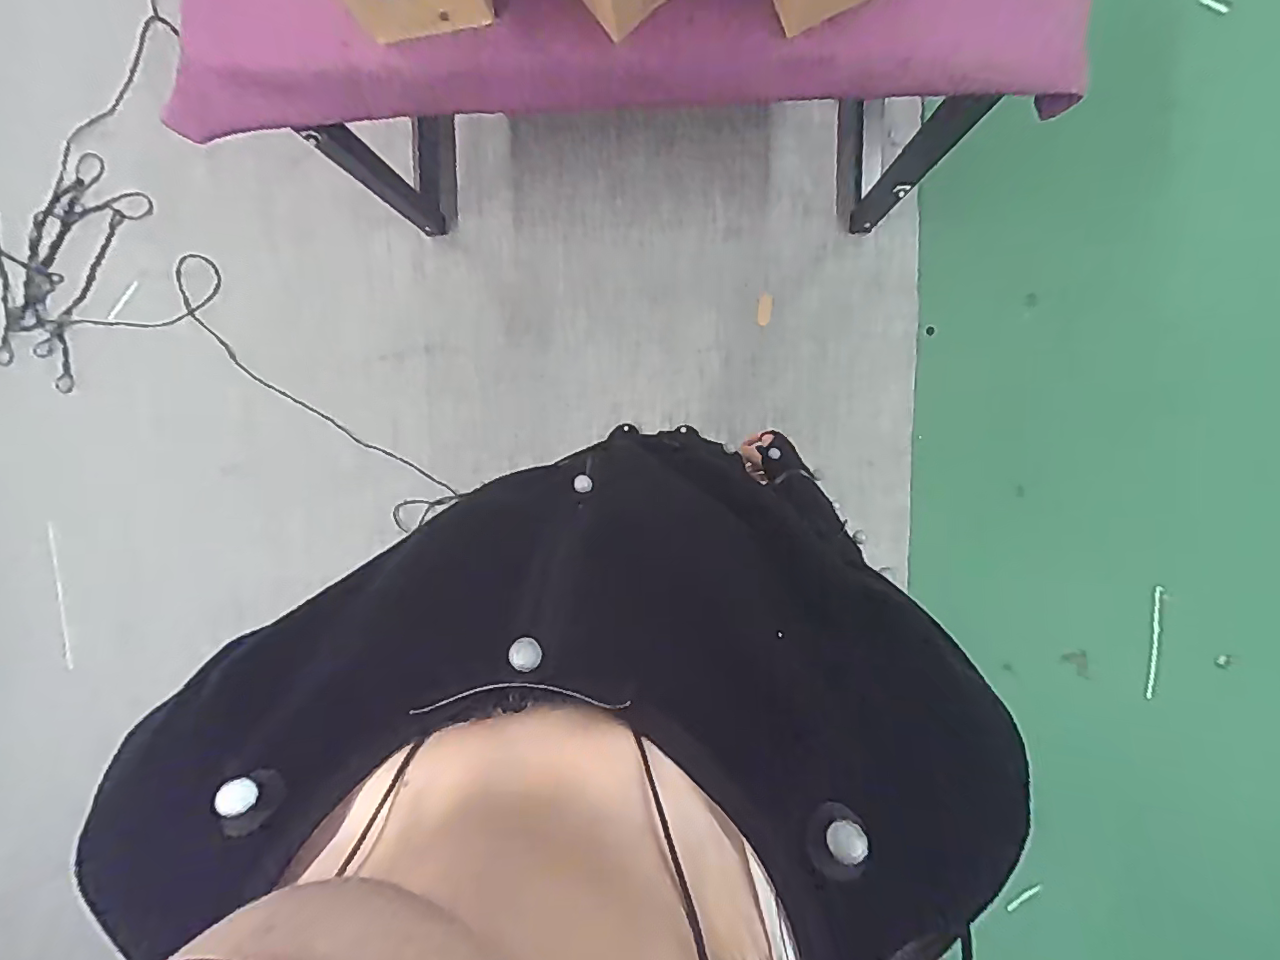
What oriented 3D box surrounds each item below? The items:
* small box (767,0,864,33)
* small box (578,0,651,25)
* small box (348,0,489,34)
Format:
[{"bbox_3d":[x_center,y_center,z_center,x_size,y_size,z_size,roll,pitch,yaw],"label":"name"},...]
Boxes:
[{"bbox_3d":[0.231,-0.681,0.620,0.179,0.176,0.168,-22,92,5],"label":"small box"},{"bbox_3d":[-0.030,-0.691,0.630,0.168,0.176,0.179,-38,92,4],"label":"small box"},{"bbox_3d":[-0.294,-0.681,0.647,0.168,0.176,0.179,-7,93,3],"label":"small box"}]
